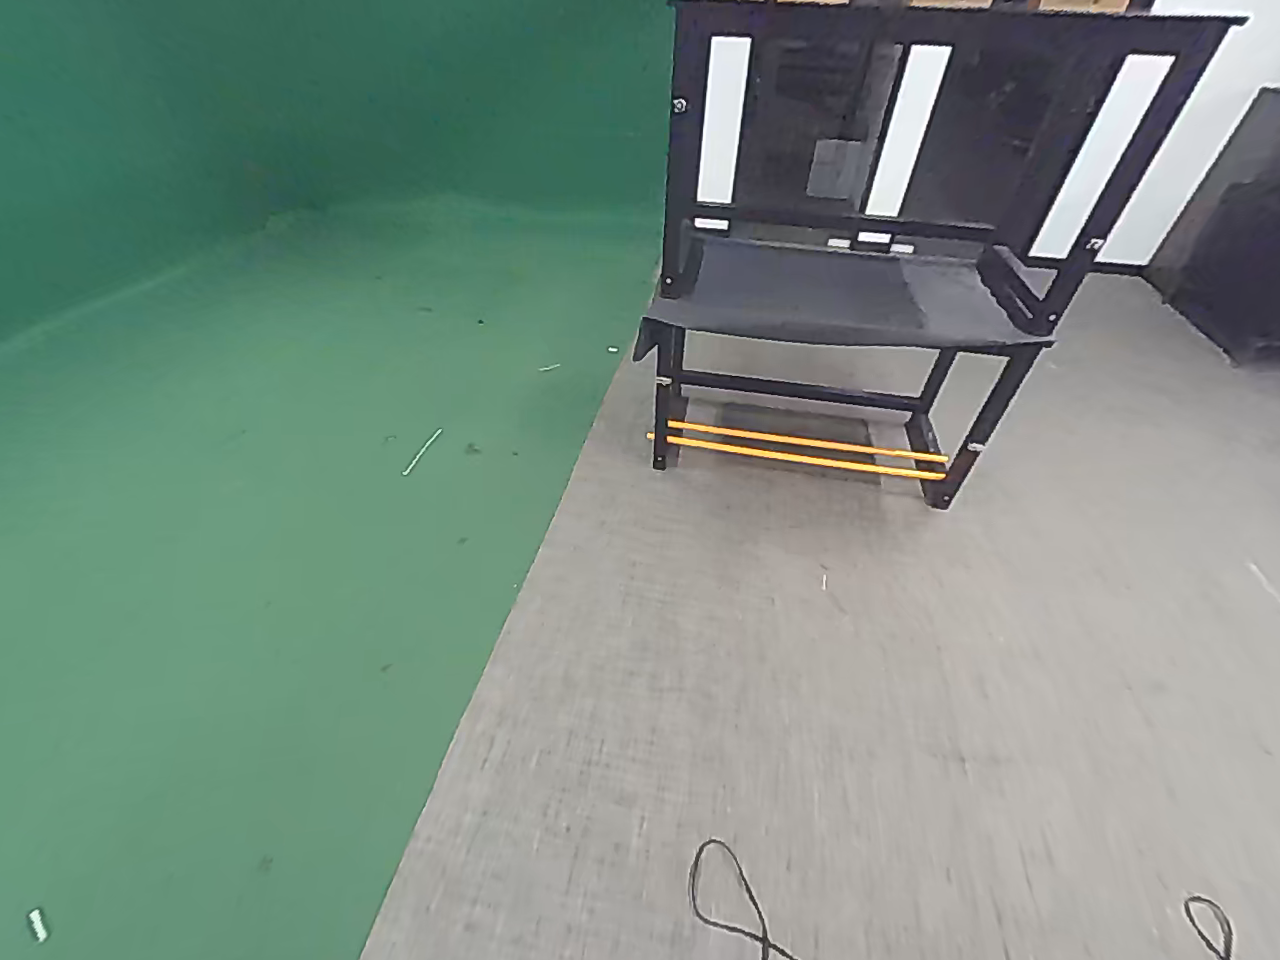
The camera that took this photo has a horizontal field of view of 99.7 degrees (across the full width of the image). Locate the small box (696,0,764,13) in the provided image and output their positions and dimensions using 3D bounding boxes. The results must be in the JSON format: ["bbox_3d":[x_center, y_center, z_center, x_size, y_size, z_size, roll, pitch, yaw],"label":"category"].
[{"bbox_3d":[0.228,-1.250,1.307,0.168,0.176,0.179,7,43,6],"label":"small box"}]

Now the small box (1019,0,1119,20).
[{"bbox_3d":[0.973,-1.126,1.190,0.168,0.176,0.179,14,44,13],"label":"small box"}]
